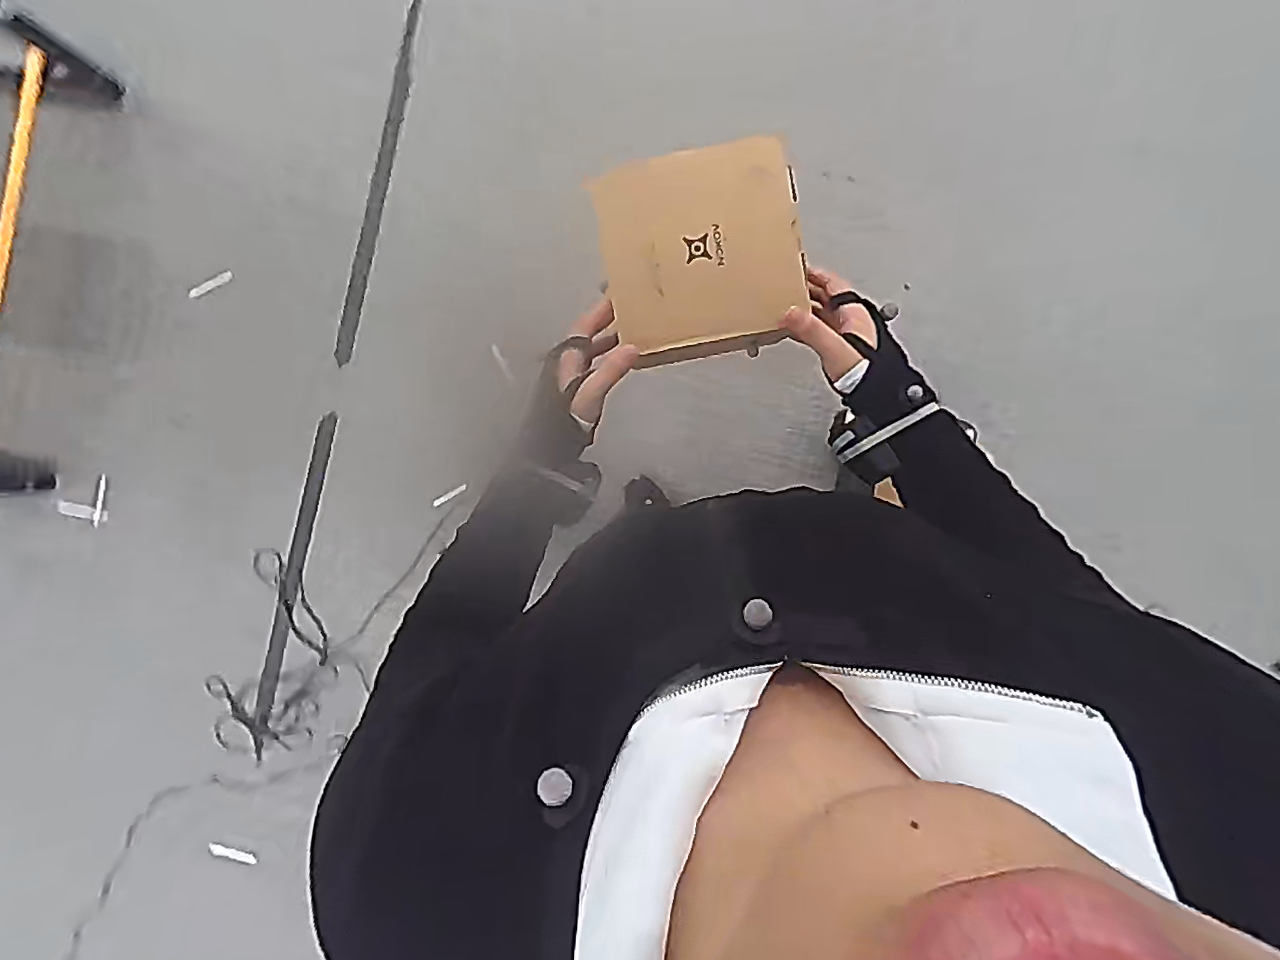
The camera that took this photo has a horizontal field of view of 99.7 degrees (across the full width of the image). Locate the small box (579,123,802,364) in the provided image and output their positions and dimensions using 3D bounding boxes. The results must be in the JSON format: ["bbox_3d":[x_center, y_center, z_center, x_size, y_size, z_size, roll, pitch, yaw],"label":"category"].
[{"bbox_3d":[0.049,-0.223,0.558,0.179,0.176,0.168,-12,96,5],"label":"small box"}]

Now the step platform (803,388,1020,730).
[{"bbox_3d":[0.567,0.158,1.175,0.286,0.204,0.684,11,92,1],"label":"step platform"}]
